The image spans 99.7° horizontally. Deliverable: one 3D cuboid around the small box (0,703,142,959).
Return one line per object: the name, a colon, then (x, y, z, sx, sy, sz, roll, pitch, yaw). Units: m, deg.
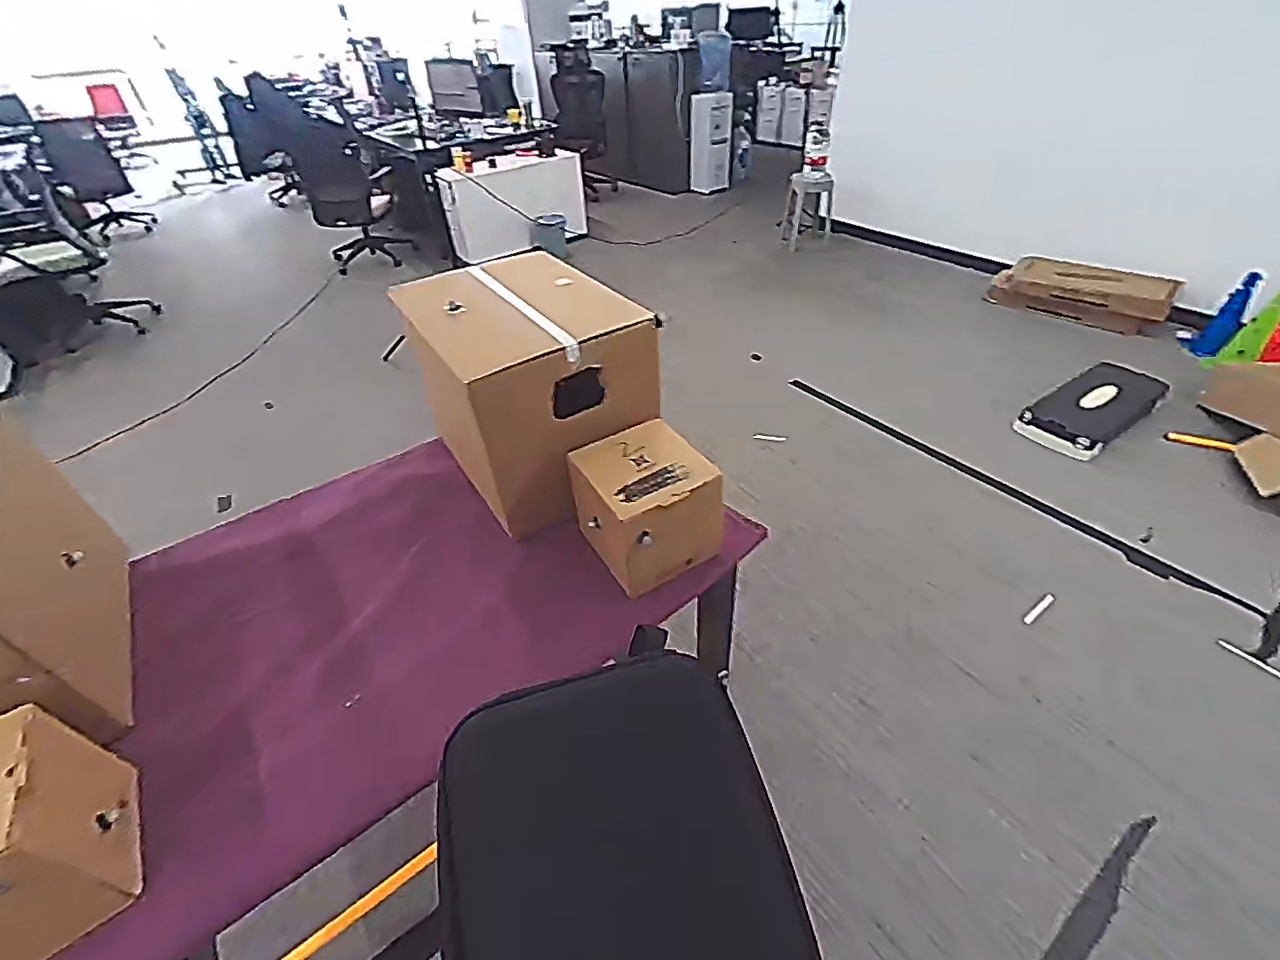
small box: (-0.636, 0.365, 0.518, 0.179, 0.176, 0.168, -29, 46, -27)

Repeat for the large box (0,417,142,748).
large box: (-0.889, 0.169, 0.655, 0.320, 0.320, 0.408, -28, 49, -27)
